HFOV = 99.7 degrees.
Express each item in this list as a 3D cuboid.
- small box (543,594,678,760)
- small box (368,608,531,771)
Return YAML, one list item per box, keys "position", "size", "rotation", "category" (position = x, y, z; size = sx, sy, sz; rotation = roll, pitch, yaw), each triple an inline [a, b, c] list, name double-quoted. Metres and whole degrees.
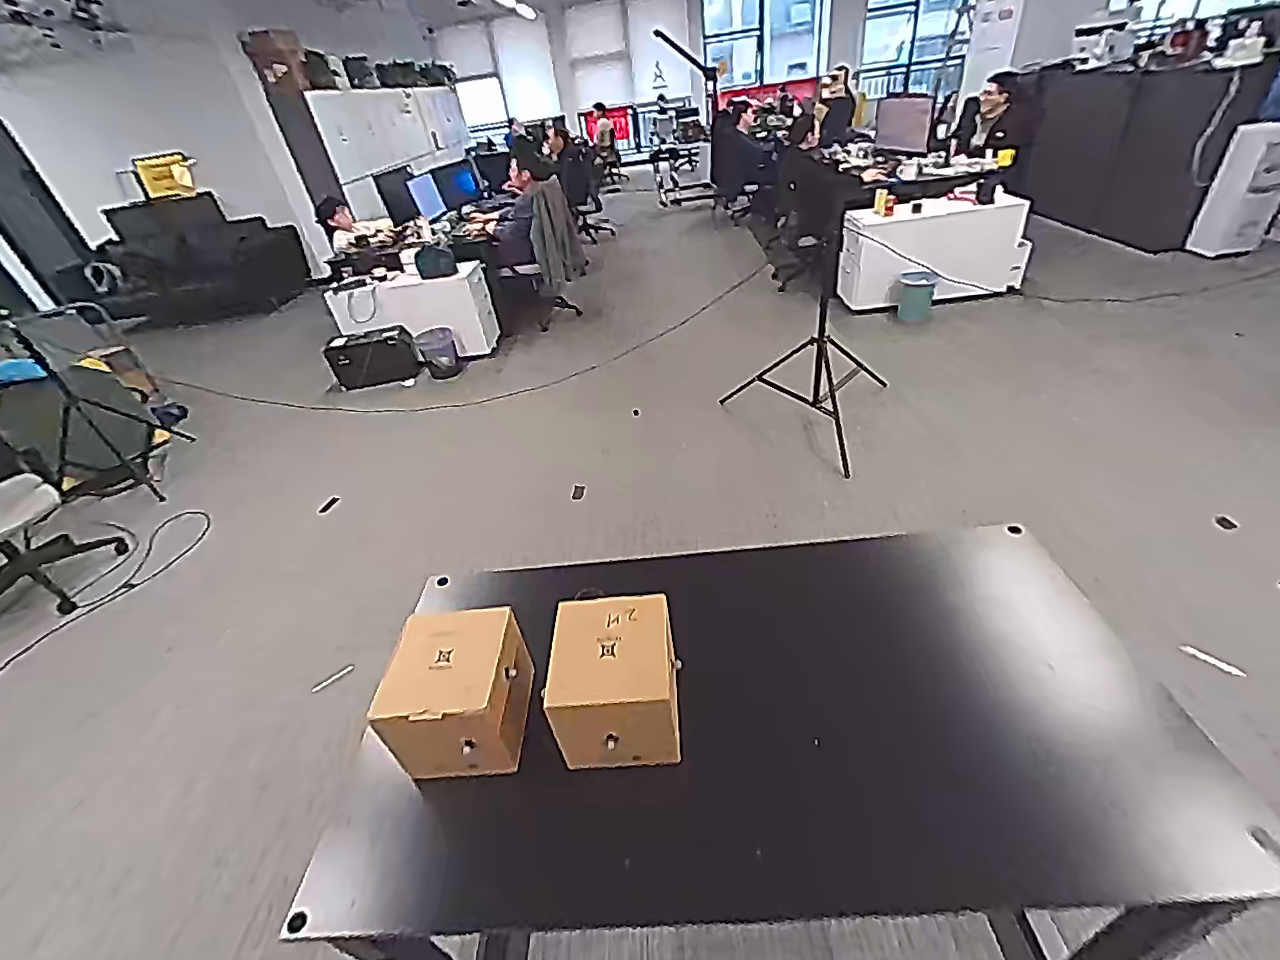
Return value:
- position: [-0.034, 0.296, 0.802]
  size: [0.168, 0.176, 0.179]
  rotation: [-5, 36, 4]
  category: "small box"
- position: [-0.272, 0.321, 0.822]
  size: [0.168, 0.176, 0.179]
  rotation: [-5, 35, 2]
  category: "small box"
